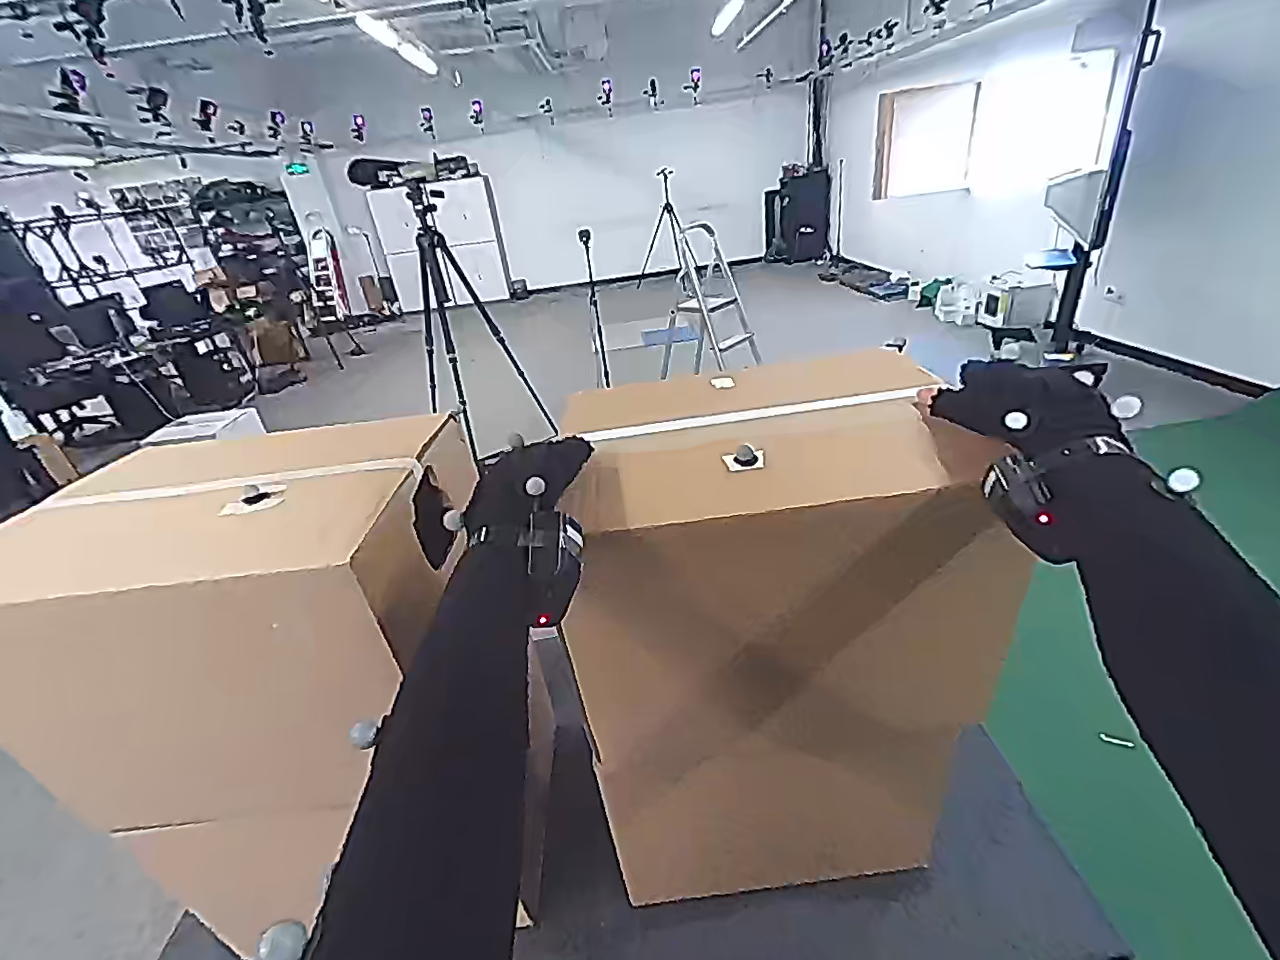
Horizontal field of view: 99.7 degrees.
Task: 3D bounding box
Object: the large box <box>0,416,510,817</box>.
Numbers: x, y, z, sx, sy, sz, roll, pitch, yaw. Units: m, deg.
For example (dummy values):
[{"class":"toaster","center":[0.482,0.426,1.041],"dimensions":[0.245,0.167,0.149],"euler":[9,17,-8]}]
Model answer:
[{"class":"large box","center":[-0.402,0.140,0.633],"dimensions":[0.408,0.320,0.320],"euler":[-5,30,1]}]
